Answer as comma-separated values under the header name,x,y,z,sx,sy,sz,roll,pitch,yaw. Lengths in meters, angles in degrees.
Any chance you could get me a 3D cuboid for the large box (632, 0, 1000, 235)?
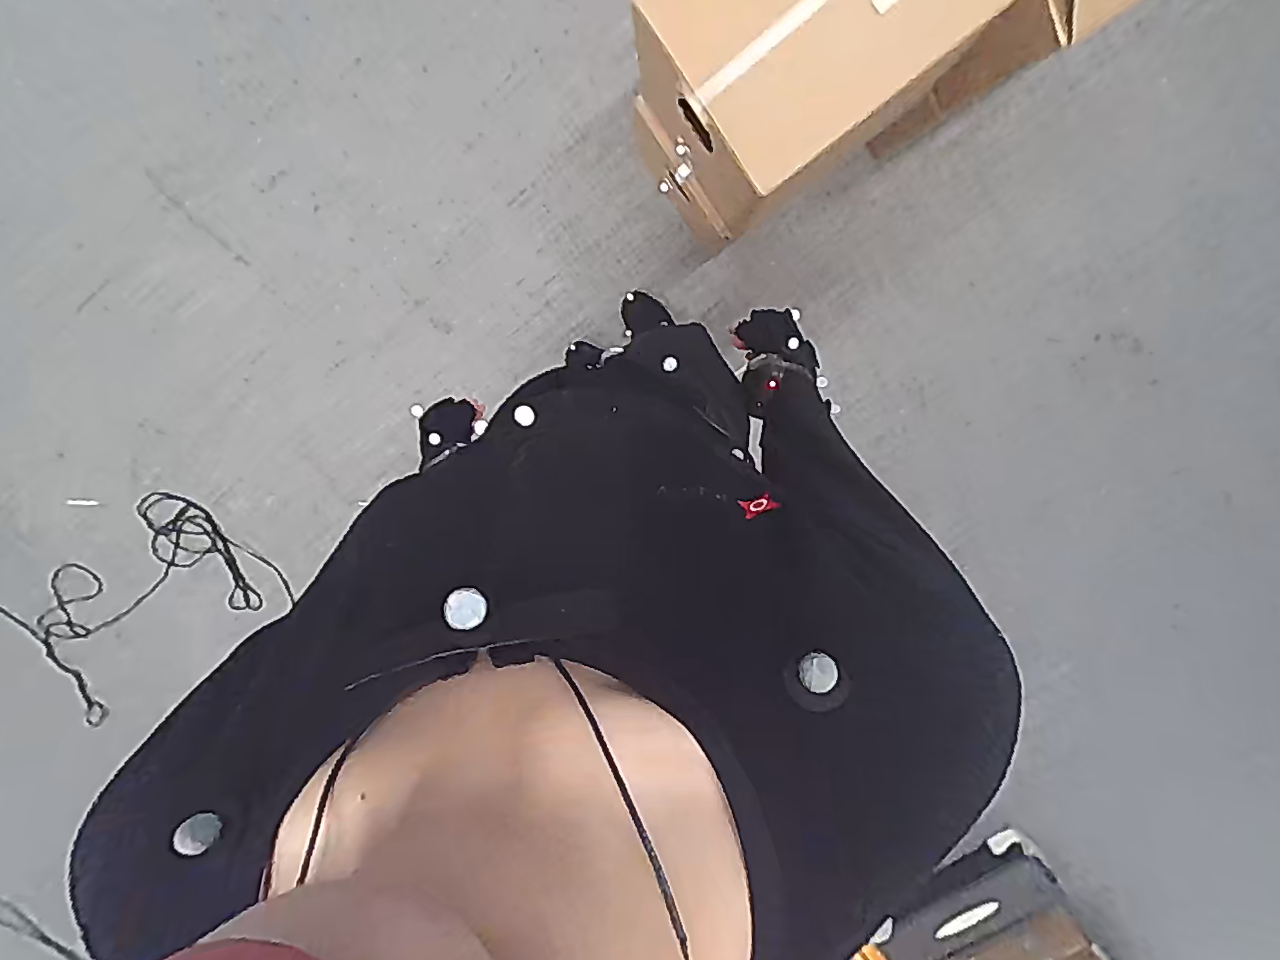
name,x,y,z,sx,sy,sz,roll,pitch,yaw
large box,0.242,-0.666,0.837,0.408,0.320,0.320,-36,99,10
